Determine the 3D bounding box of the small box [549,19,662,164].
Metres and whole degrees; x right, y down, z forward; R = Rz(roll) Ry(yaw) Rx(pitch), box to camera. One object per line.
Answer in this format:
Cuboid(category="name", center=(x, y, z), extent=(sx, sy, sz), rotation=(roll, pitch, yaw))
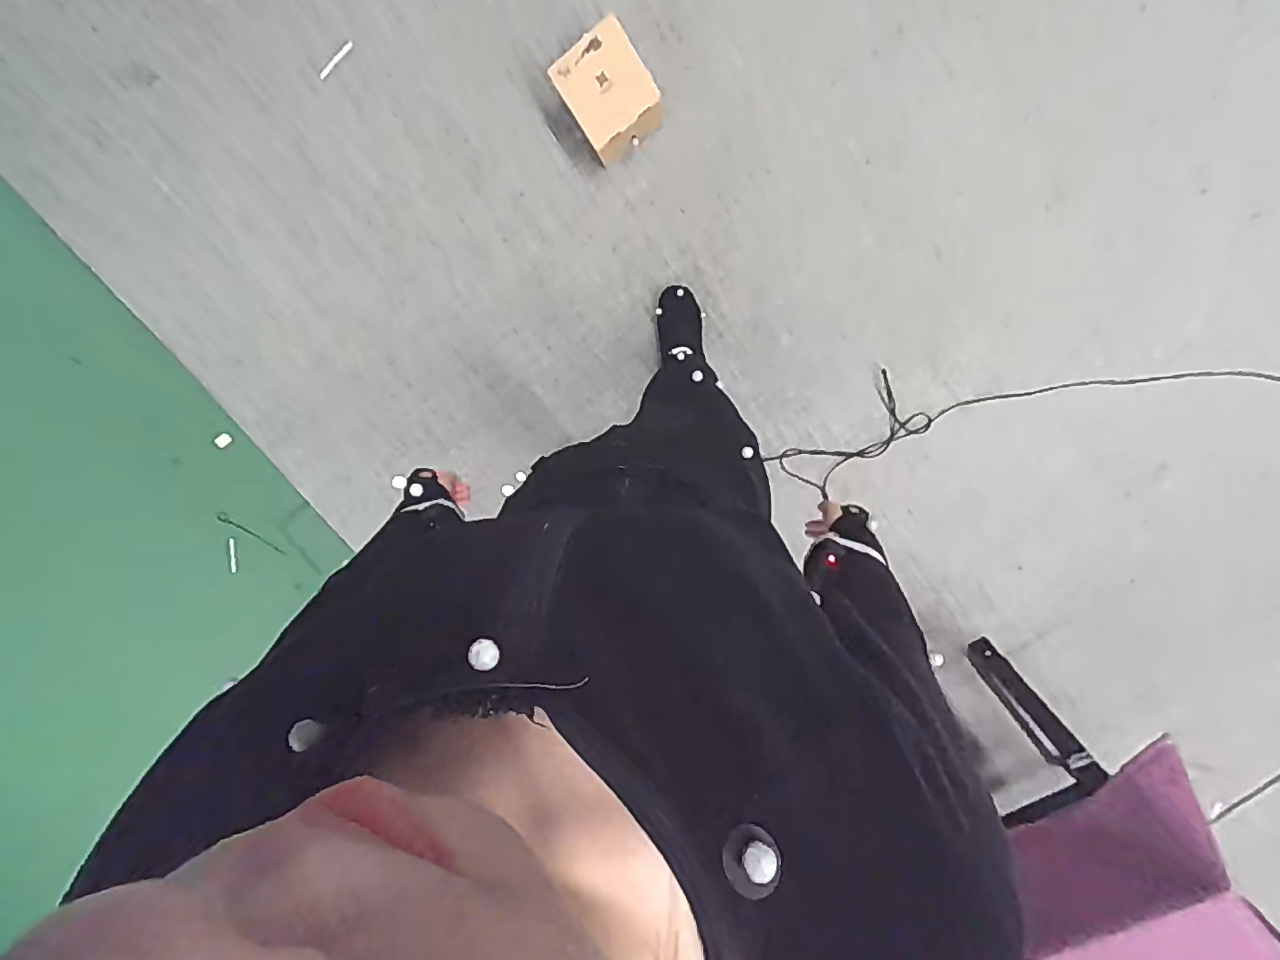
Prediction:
Cuboid(category="small box", center=(-0.064, -0.807, 1.152), extent=(0.168, 0.176, 0.179), rotation=(-32, 104, 14))
